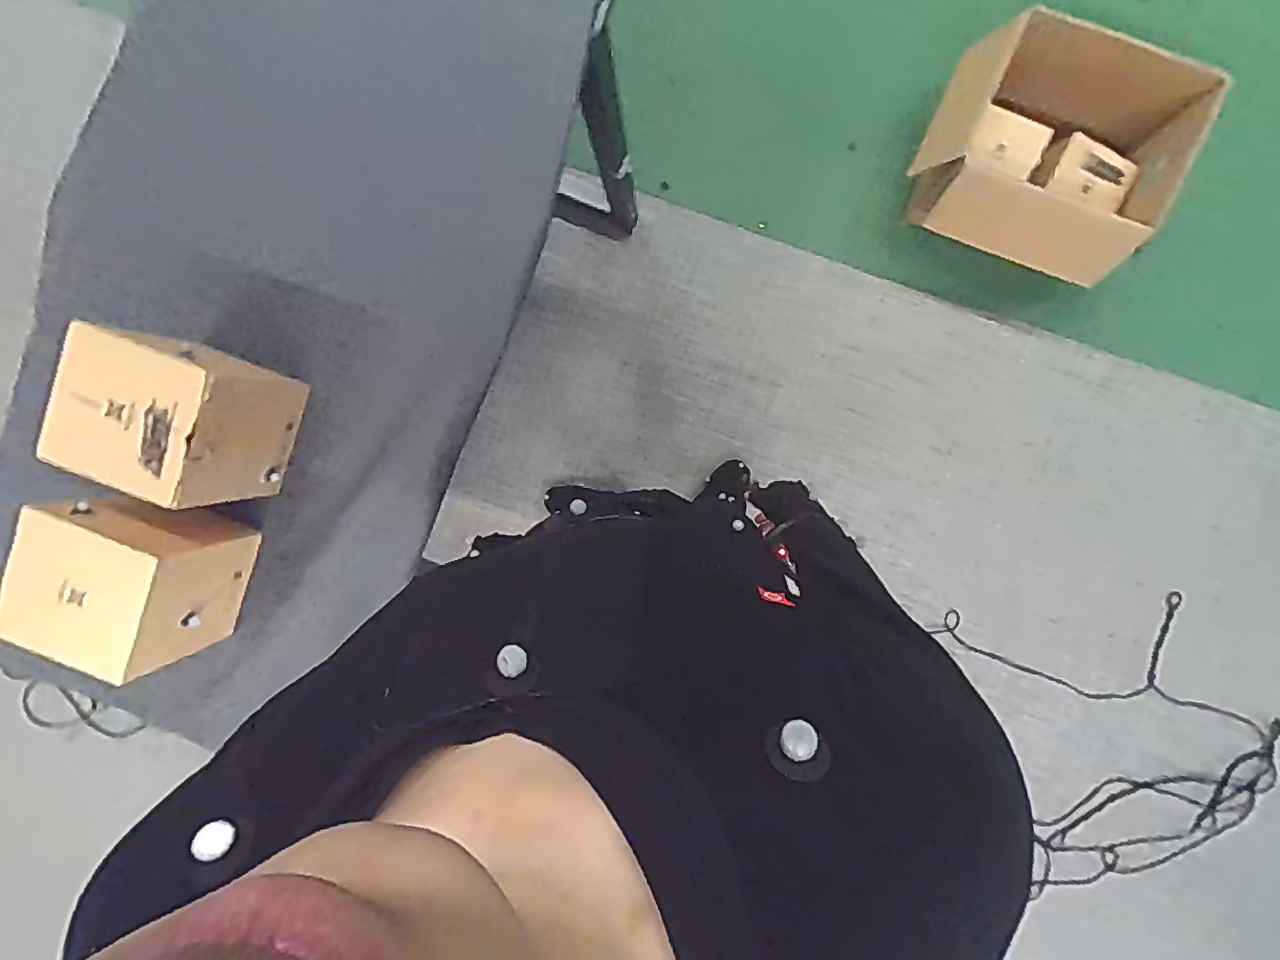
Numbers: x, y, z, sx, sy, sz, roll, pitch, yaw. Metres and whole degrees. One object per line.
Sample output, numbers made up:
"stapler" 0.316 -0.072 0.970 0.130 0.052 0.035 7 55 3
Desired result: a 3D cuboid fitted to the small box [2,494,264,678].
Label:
"small box" -0.649 0.125 0.714 0.179 0.176 0.168 20 96 2
